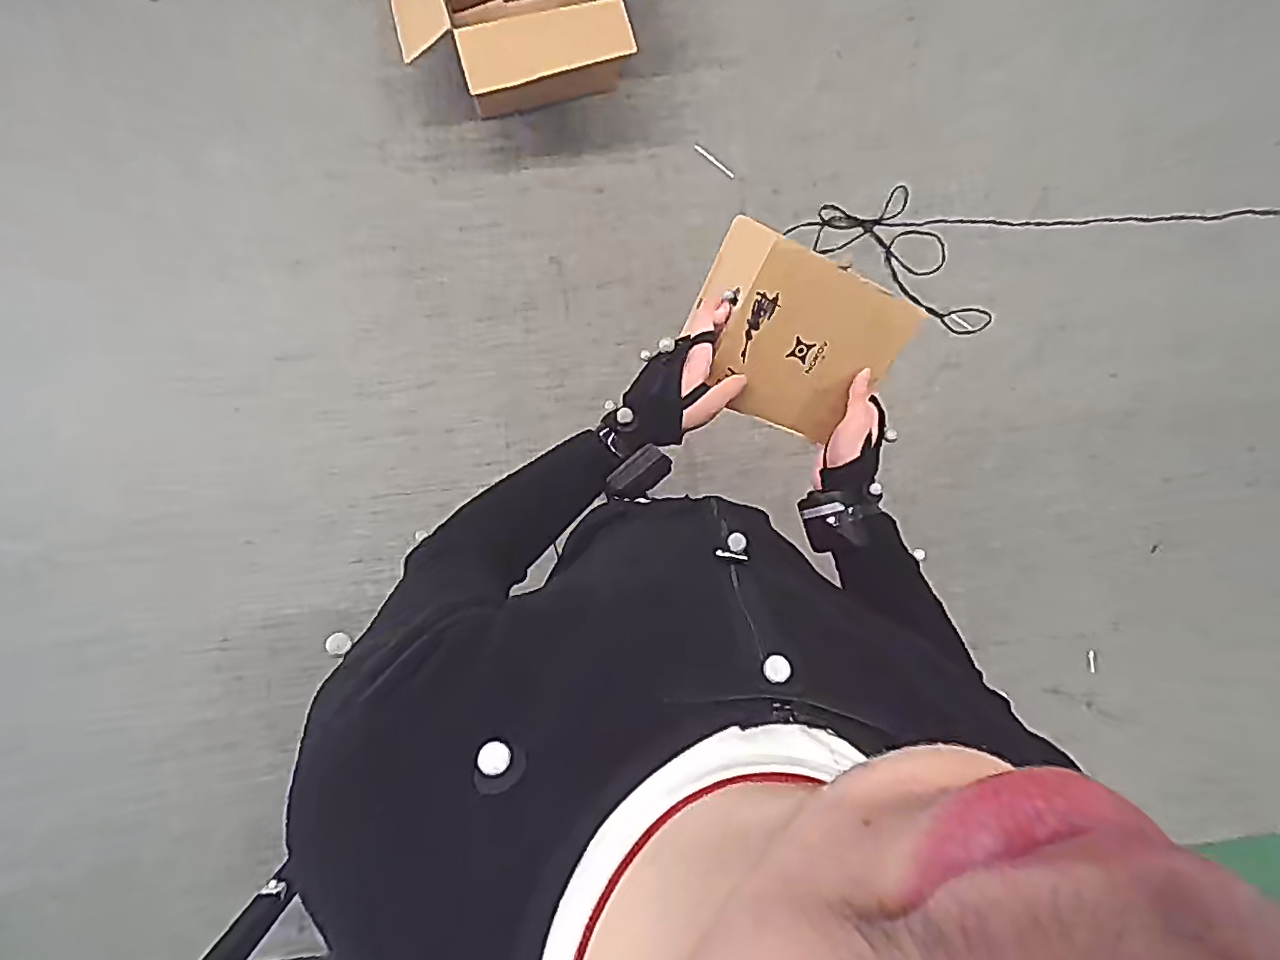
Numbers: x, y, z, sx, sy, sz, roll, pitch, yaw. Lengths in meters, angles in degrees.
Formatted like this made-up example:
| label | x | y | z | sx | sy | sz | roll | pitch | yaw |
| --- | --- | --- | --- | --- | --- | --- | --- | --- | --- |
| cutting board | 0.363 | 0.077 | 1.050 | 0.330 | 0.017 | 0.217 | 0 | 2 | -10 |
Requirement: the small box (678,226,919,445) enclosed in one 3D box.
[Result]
| label | x | y | z | sx | sy | sz | roll | pitch | yaw |
| --- | --- | --- | --- | --- | --- | --- | --- | --- | --- |
| small box | 0.161 | -0.169 | 0.613 | 0.179 | 0.176 | 0.168 | 18 | 118 | -15 |
